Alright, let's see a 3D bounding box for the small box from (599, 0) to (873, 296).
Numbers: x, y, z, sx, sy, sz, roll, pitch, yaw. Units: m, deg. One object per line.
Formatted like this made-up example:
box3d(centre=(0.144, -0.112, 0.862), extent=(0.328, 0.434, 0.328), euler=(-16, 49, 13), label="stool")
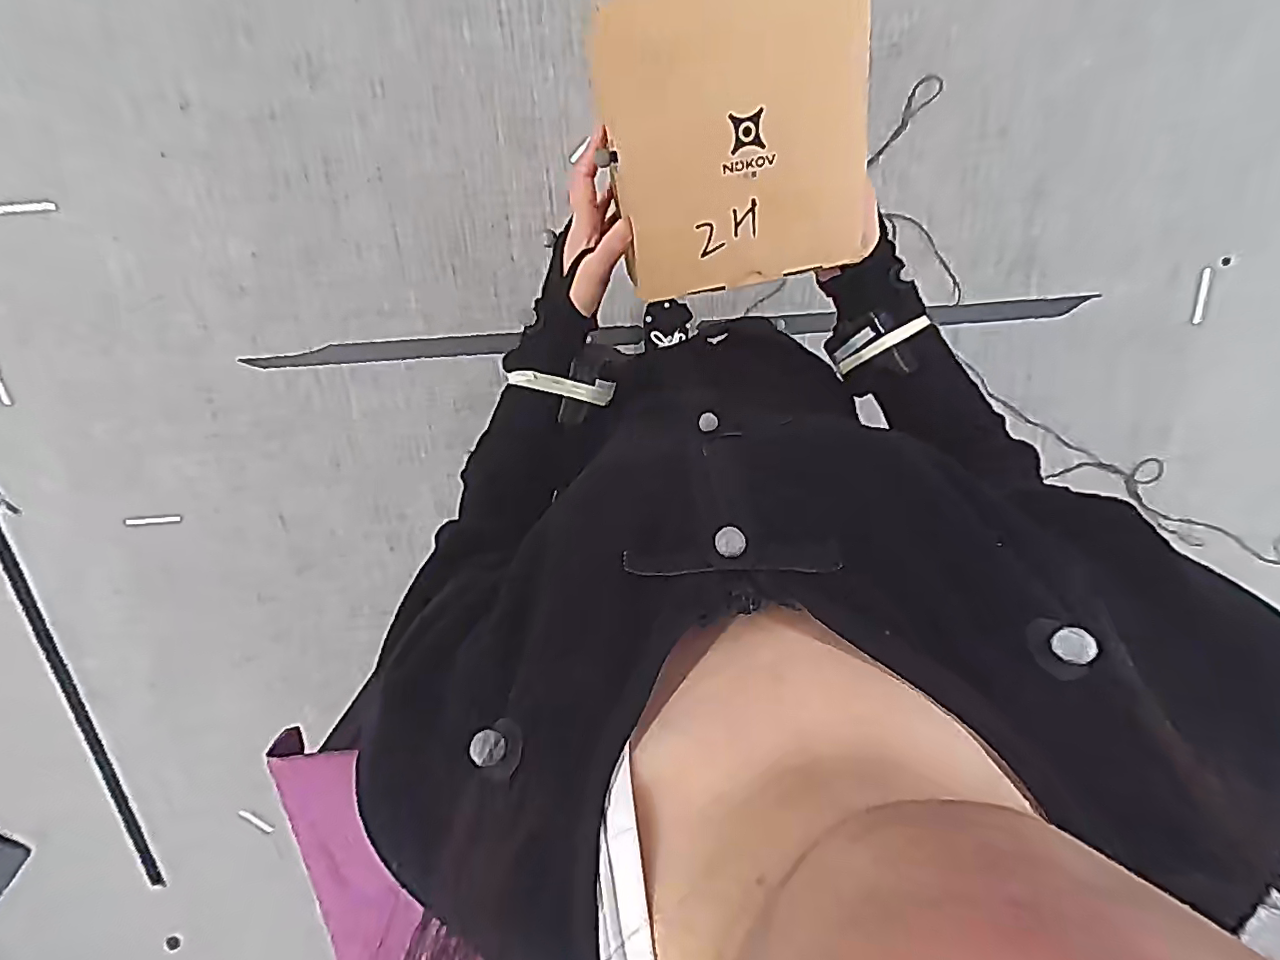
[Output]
box3d(centre=(0.063, -0.261, 0.429), extent=(0.168, 0.176, 0.179), euler=(-11, 118, 0), label="small box")
